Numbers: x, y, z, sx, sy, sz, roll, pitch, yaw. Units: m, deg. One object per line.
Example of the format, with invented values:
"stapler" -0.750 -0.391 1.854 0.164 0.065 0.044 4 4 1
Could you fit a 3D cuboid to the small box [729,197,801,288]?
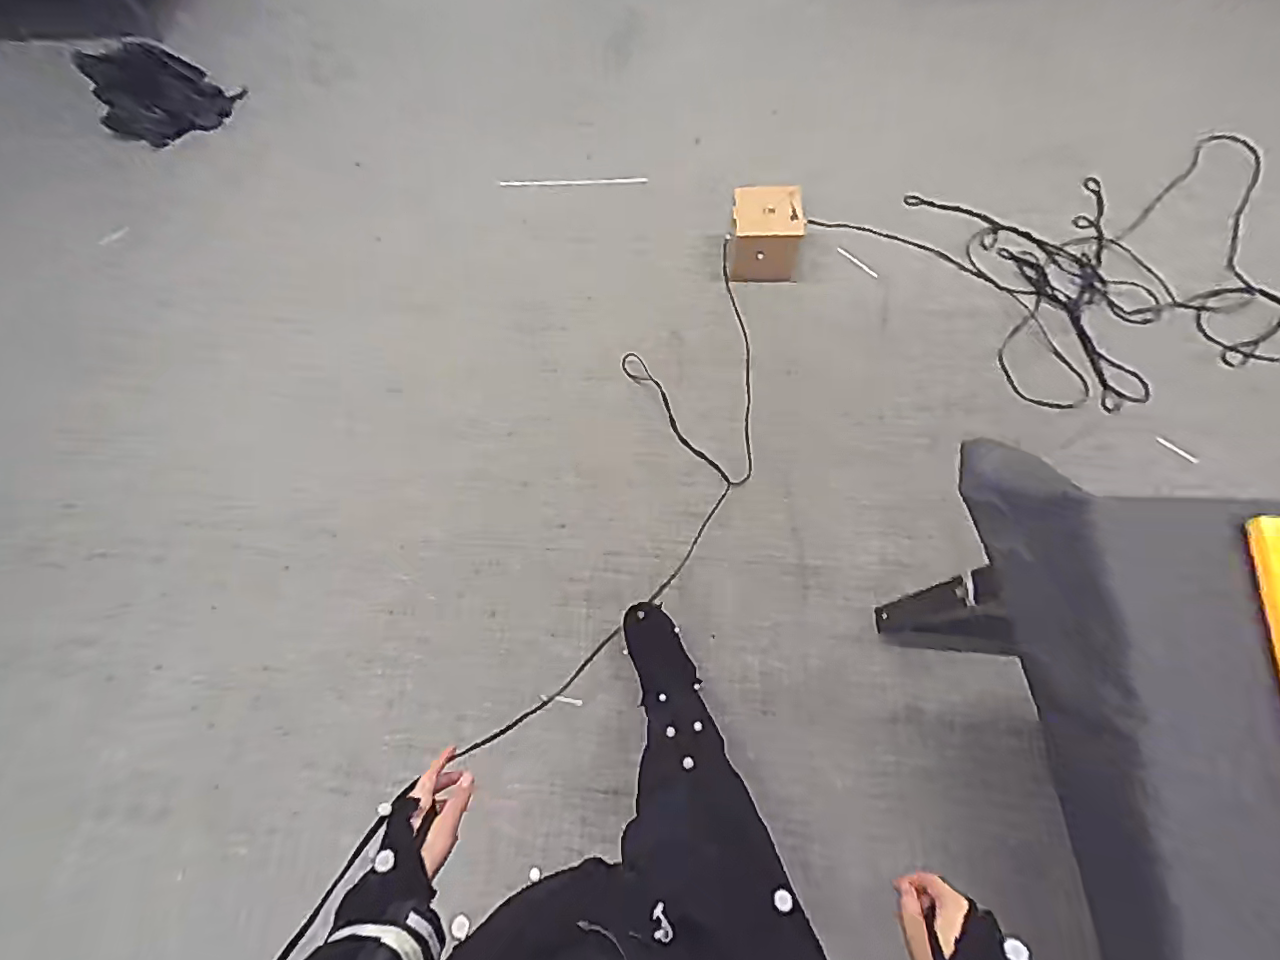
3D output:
"small box" 0.337 -0.649 1.492 0.179 0.176 0.168 0 70 5
